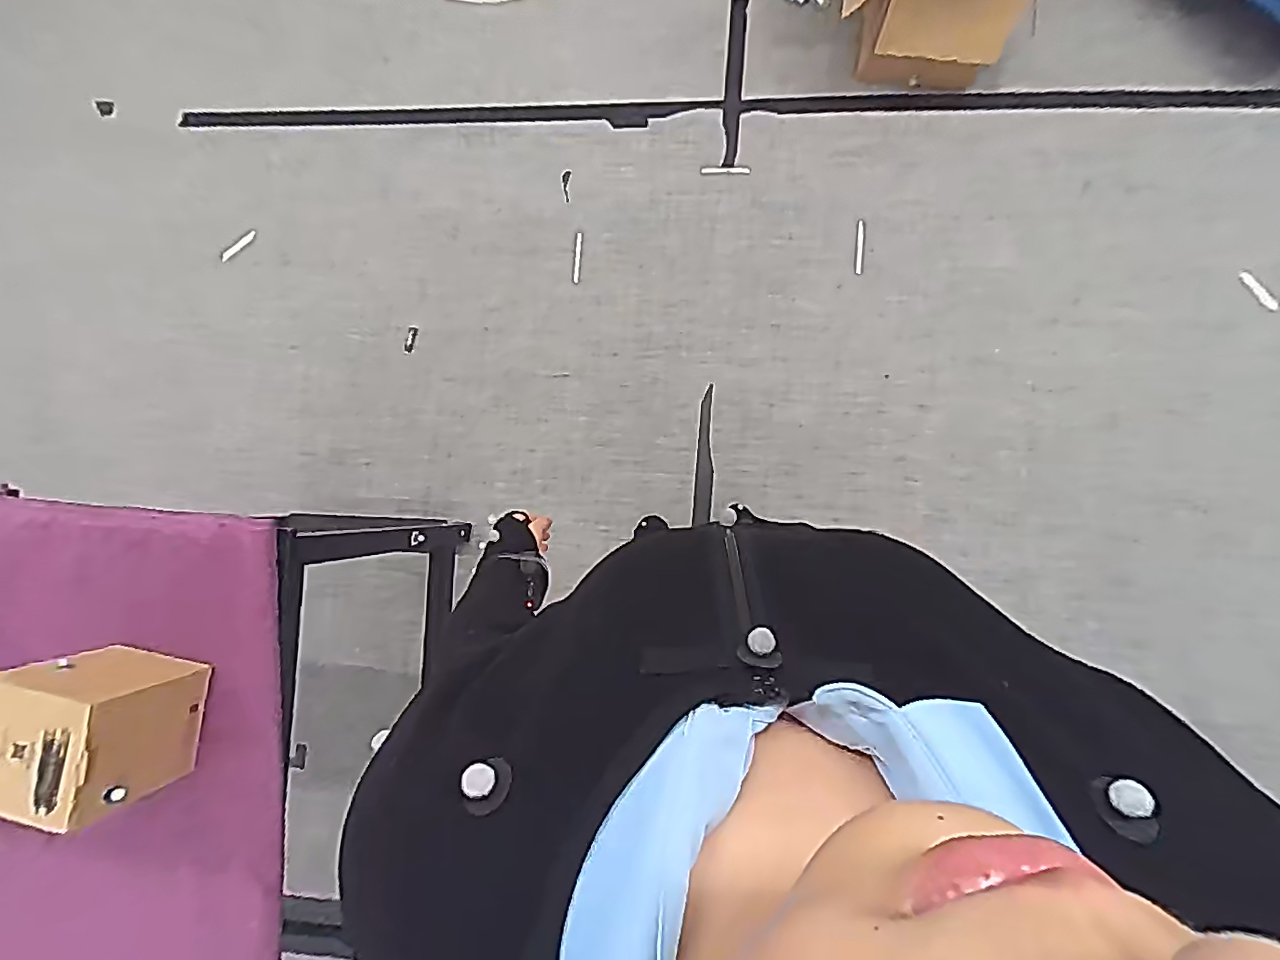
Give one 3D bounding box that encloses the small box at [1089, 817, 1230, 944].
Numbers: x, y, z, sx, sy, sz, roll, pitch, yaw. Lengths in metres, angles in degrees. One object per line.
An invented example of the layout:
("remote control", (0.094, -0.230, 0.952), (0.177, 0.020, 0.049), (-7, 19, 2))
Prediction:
("small box", (1.174, 0.904, 1.237), (0.179, 0.176, 0.168), (1, 88, 6))
